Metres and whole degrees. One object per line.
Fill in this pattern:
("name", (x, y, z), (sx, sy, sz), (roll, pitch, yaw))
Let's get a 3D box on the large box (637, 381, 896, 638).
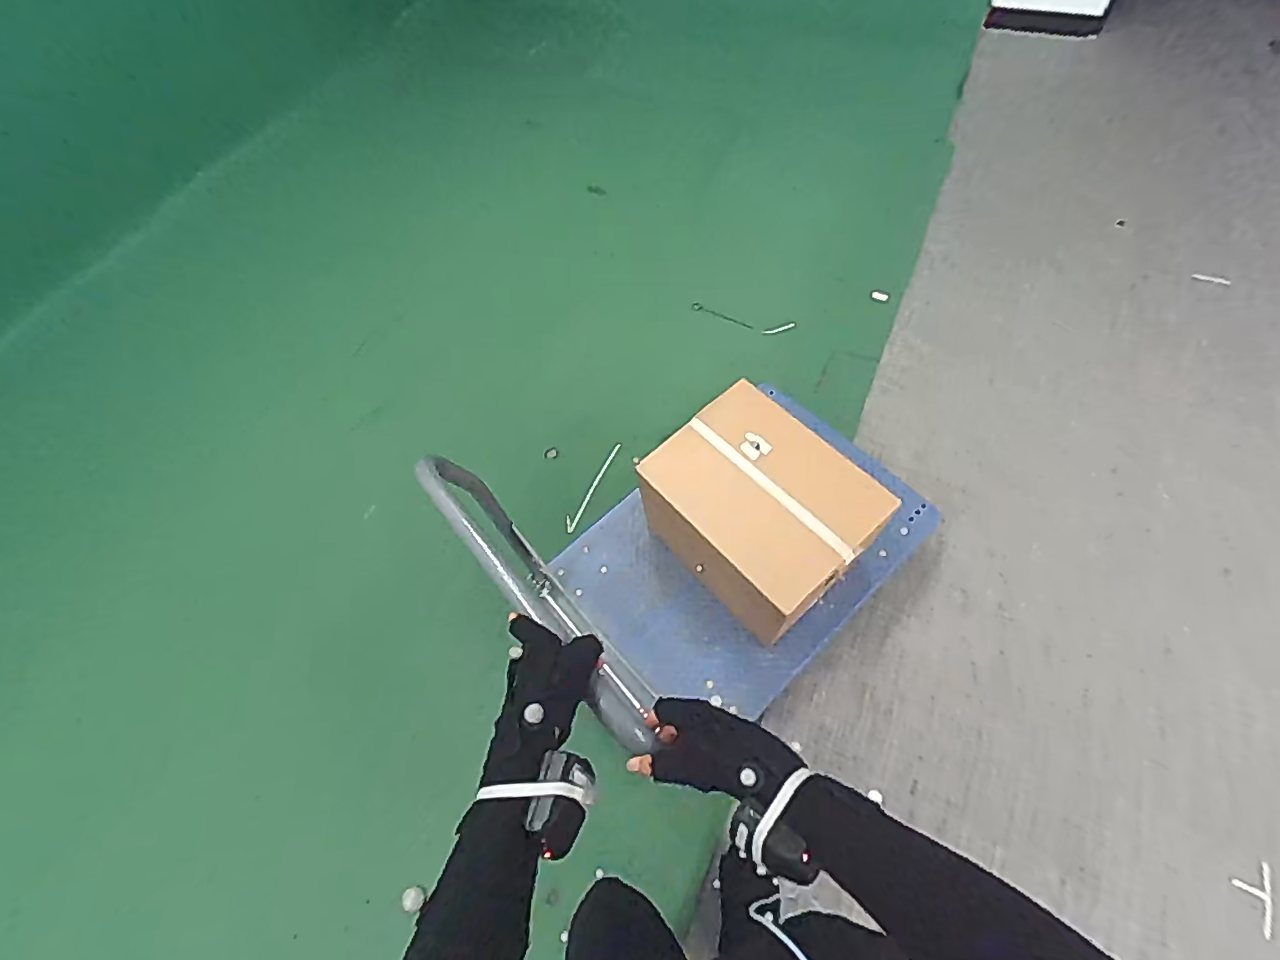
("large box", (0.254, 0.070, 1.178), (0.320, 0.320, 0.408), (-40, 65, -14))
